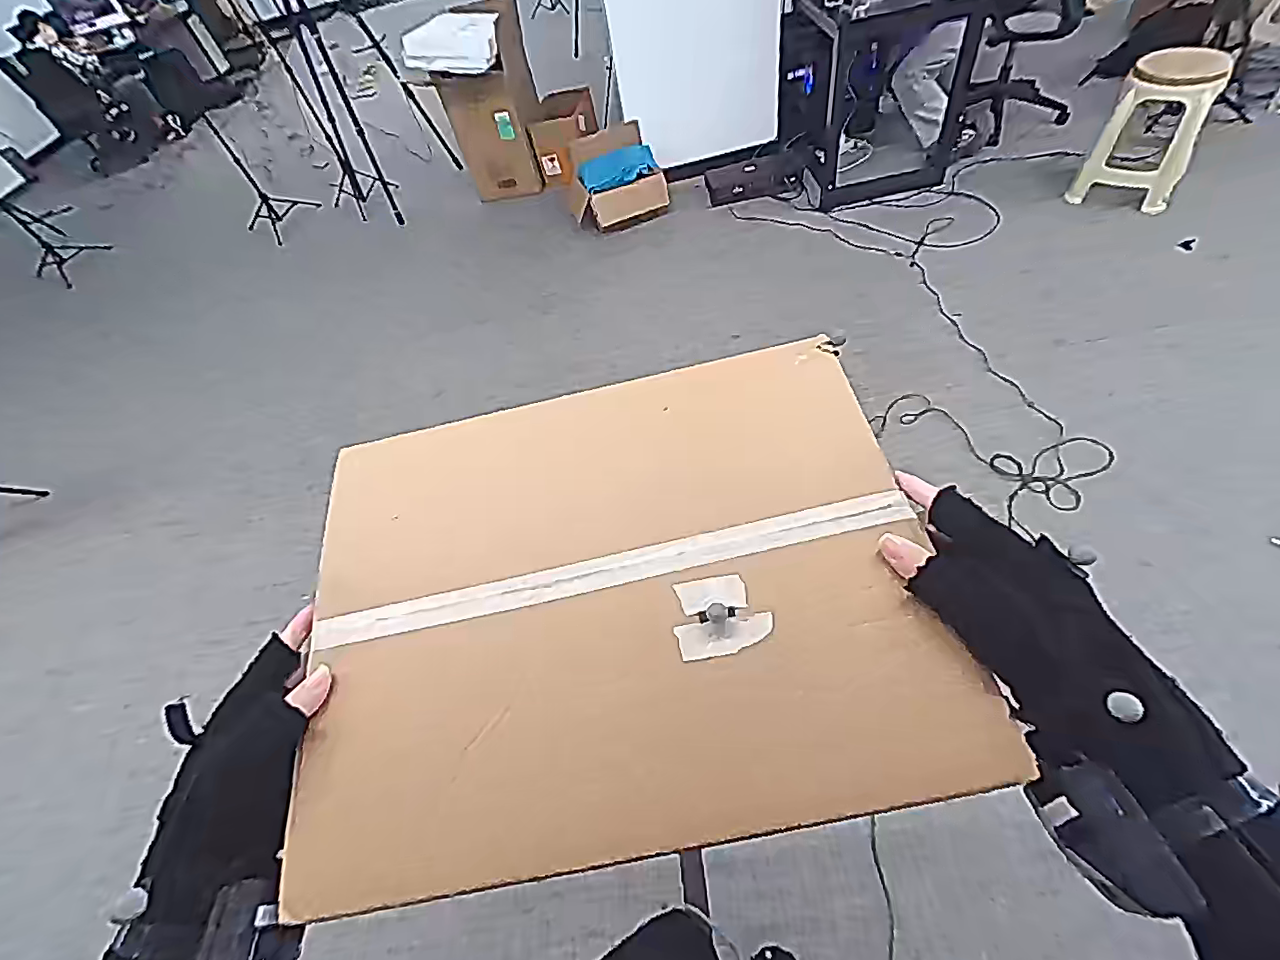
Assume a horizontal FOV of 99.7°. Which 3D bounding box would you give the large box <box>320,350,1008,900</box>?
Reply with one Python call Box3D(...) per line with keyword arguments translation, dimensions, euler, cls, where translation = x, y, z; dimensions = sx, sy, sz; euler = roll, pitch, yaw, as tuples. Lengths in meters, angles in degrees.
Box3D(translation=(0.004, 0.137, 0.502), dimensions=(0.408, 0.320, 0.320), euler=(-13, 60, 2), cls="large box")
